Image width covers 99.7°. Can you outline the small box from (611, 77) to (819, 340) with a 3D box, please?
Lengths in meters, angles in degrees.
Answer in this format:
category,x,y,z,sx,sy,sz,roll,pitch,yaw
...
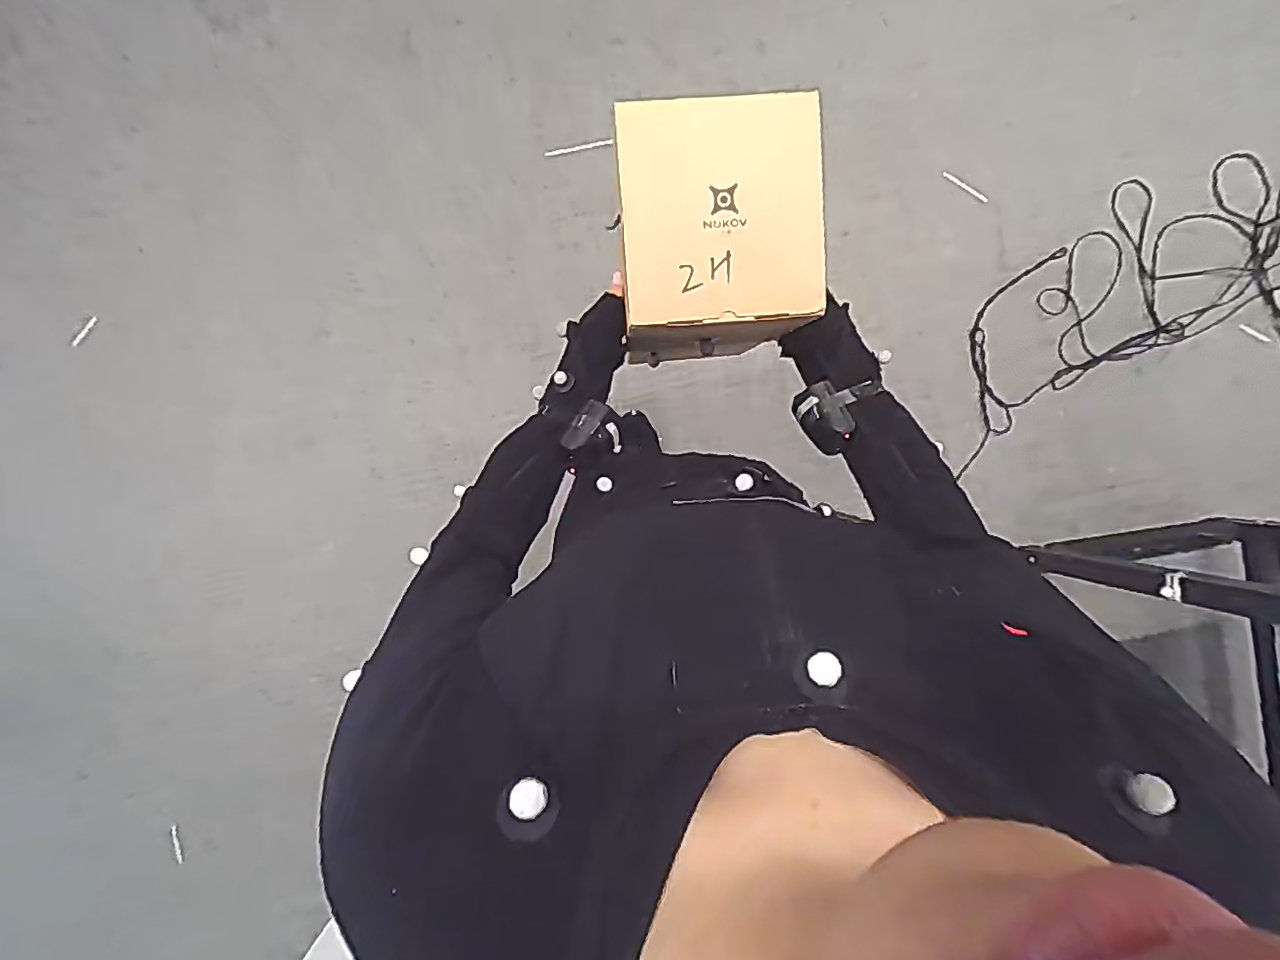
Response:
category,x,y,z,sx,sy,sz,roll,pitch,yaw
small box,0.059,-0.237,0.513,0.168,0.176,0.179,-4,97,-2
